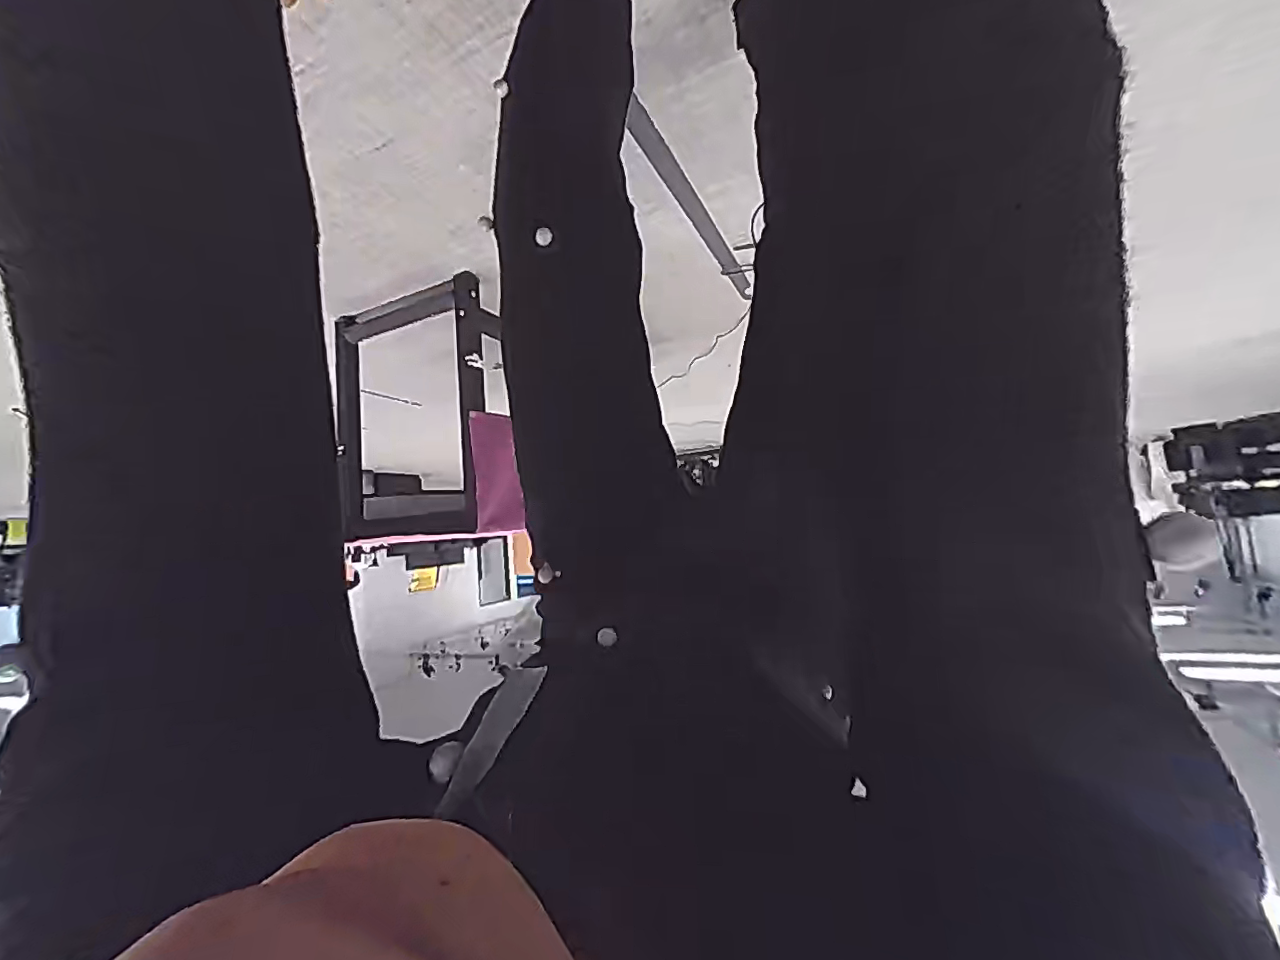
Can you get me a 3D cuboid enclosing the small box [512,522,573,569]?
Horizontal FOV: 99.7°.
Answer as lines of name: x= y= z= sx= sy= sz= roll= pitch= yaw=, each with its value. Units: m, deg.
small box: x=-0.383 y=0.250 z=2.102 sx=0.179 sy=0.176 sz=0.168 roll=-7 pitch=174 yaw=27
